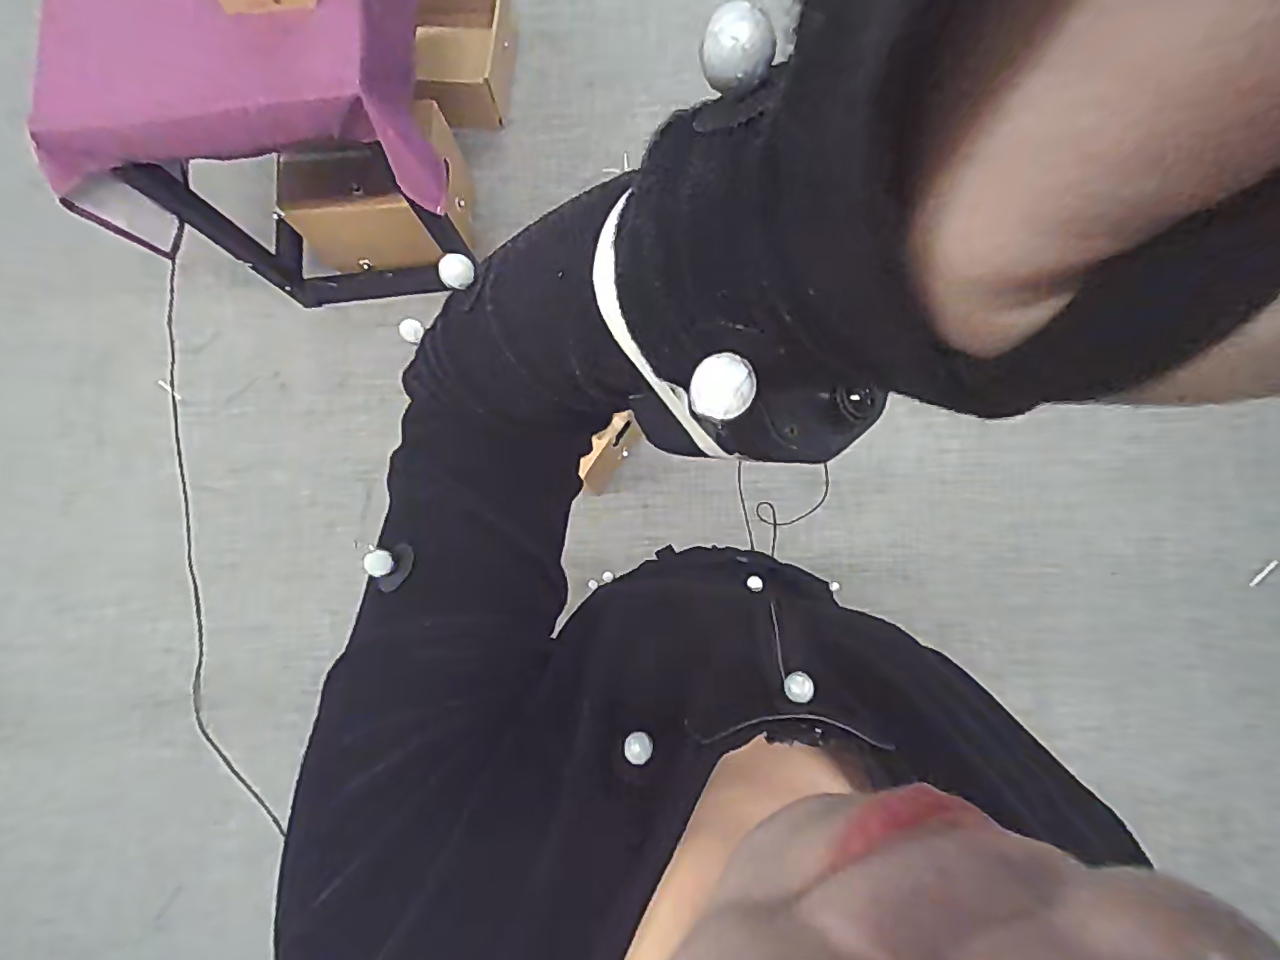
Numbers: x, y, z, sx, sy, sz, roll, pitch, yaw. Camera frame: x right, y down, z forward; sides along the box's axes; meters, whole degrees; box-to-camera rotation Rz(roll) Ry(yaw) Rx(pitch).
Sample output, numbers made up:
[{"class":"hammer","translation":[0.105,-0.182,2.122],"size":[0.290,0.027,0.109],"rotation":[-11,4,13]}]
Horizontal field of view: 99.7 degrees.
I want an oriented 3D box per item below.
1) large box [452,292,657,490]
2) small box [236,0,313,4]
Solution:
[{"class":"large box","translation":[-0.201,-0.216,1.445],"size":[0.408,0.320,0.320],"rotation":[33,83,8]},{"class":"small box","translation":[-0.662,-0.945,0.905],"size":[0.168,0.176,0.179],"rotation":[-1,82,2]}]
